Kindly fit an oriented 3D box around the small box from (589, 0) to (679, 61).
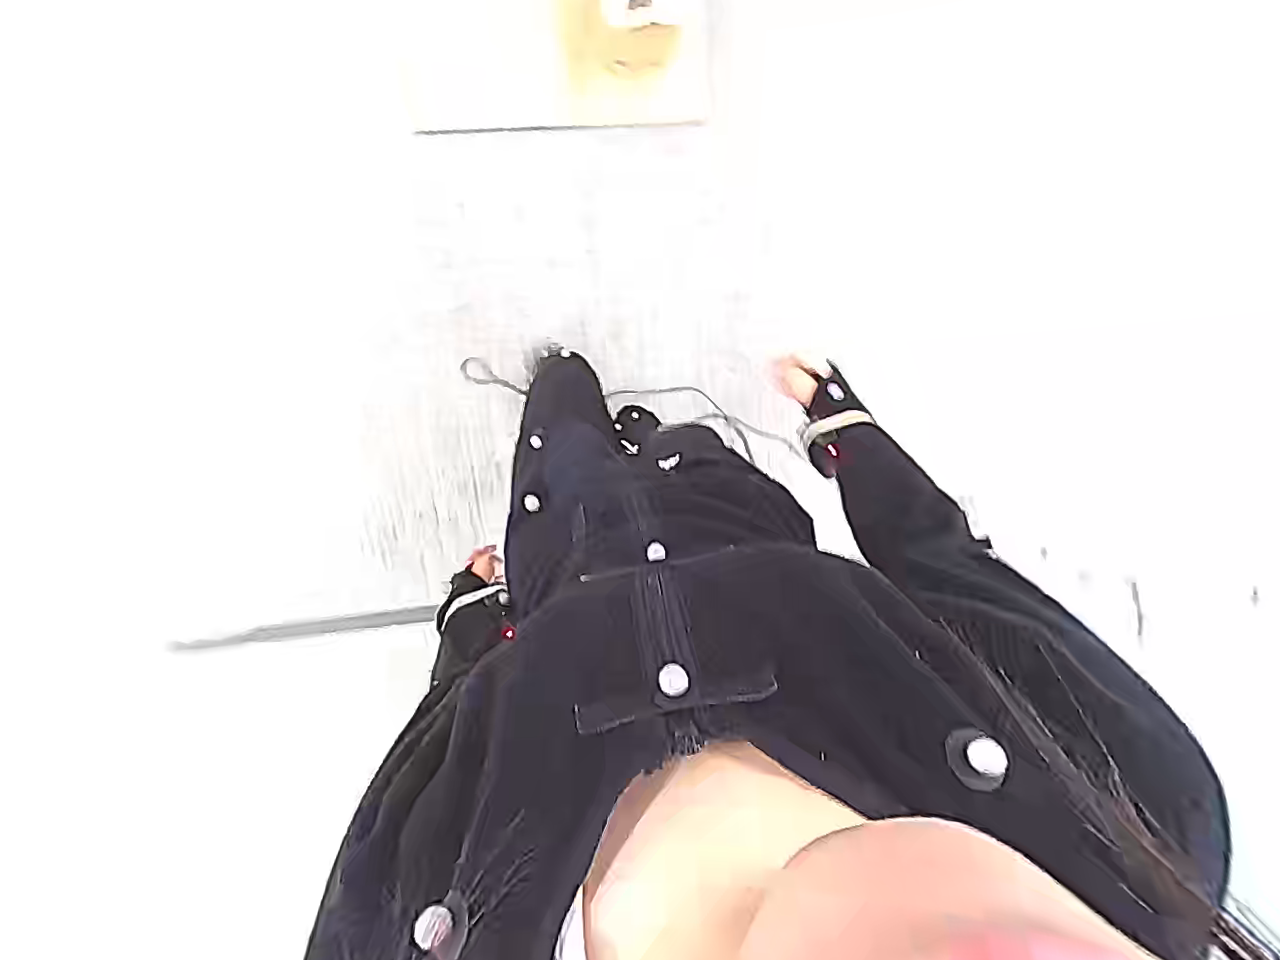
[{"bbox_3d":[-0.020,-1.041,1.163,0.168,0.176,0.179,-11,103,-5],"label":"small box"}]
